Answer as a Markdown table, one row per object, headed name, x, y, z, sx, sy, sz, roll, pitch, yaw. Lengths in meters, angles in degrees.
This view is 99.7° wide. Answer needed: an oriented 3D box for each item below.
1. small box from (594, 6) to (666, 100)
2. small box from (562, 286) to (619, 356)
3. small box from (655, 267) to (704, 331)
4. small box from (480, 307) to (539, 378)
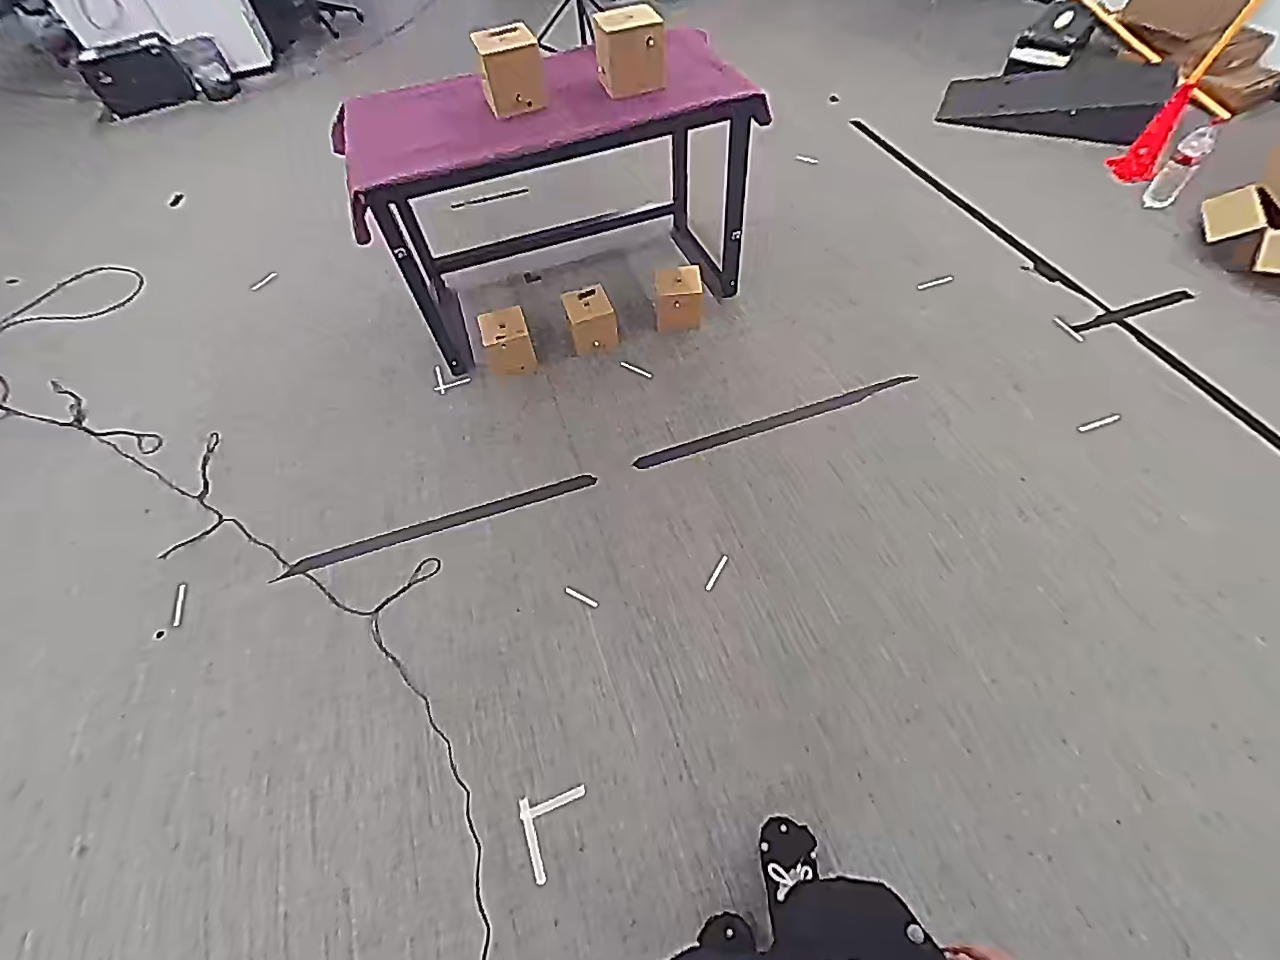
| name | x | y | z | sx | sy | sz | roll | pitch | yaw |
| --- | --- | --- | --- | --- | --- | --- | --- | --- | --- |
| small box | -0.027 | -1.288 | 1.635 | 0.179 | 0.176 | 0.168 | -17 | 56 | -5 |
| small box | -0.189 | -0.607 | 2.076 | 0.168 | 0.176 | 0.179 | -19 | 58 | -7 |
| small box | 0.153 | -0.704 | 2.111 | 0.179 | 0.176 | 0.168 | -5 | 57 | 3 |
| small box | -0.491 | -0.517 | 2.044 | 0.168 | 0.176 | 0.179 | -17 | 56 | -6 |
